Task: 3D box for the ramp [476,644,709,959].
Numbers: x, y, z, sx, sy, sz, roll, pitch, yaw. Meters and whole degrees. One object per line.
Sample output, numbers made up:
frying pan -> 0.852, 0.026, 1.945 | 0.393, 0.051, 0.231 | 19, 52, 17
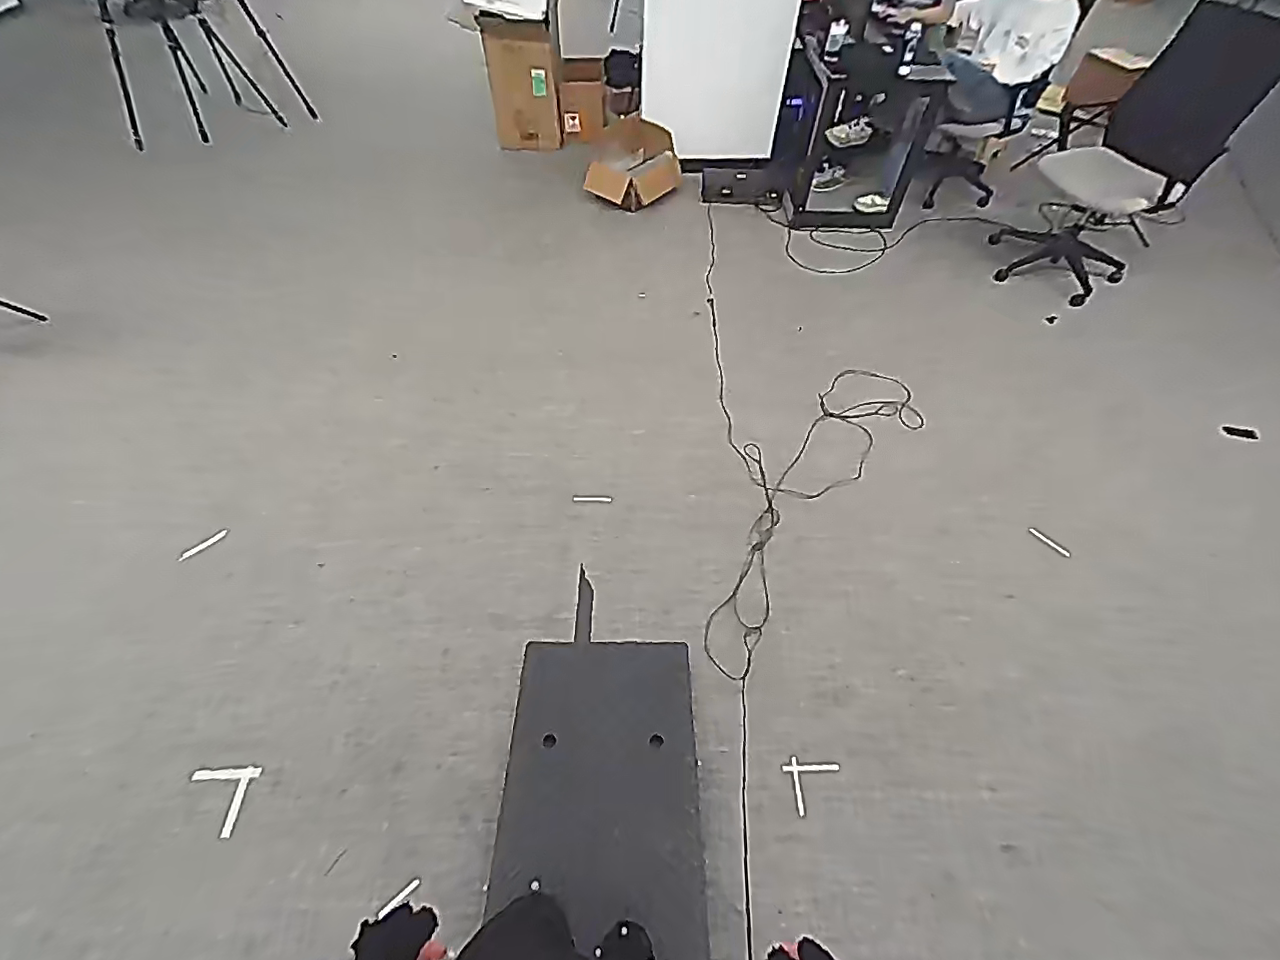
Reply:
ramp -> -0.101, 0.845, 1.289 | 0.509, 0.206, 0.991 | -1, 54, -1
